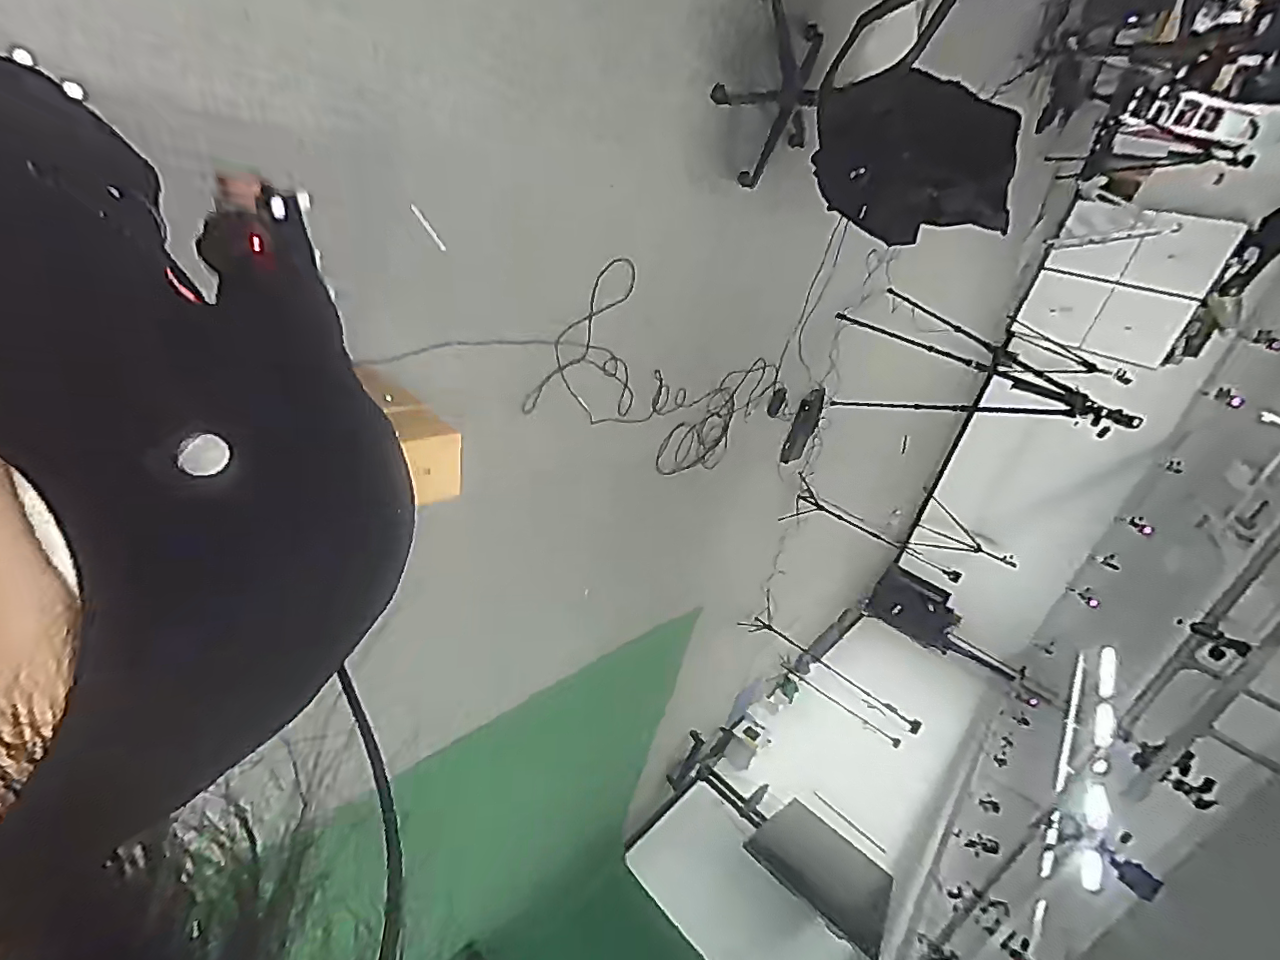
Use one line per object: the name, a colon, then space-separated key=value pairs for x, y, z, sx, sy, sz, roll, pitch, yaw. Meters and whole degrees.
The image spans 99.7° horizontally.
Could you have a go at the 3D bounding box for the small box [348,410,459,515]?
small box: x=-0.531 y=-0.048 z=1.222 sx=0.179 sy=0.176 sz=0.168 roll=-19 pitch=129 yaw=-43

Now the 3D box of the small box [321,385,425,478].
small box: x=-0.644 y=-0.123 z=1.312 sx=0.179 sy=0.176 sz=0.168 roll=-18 pitch=128 yaw=-44
